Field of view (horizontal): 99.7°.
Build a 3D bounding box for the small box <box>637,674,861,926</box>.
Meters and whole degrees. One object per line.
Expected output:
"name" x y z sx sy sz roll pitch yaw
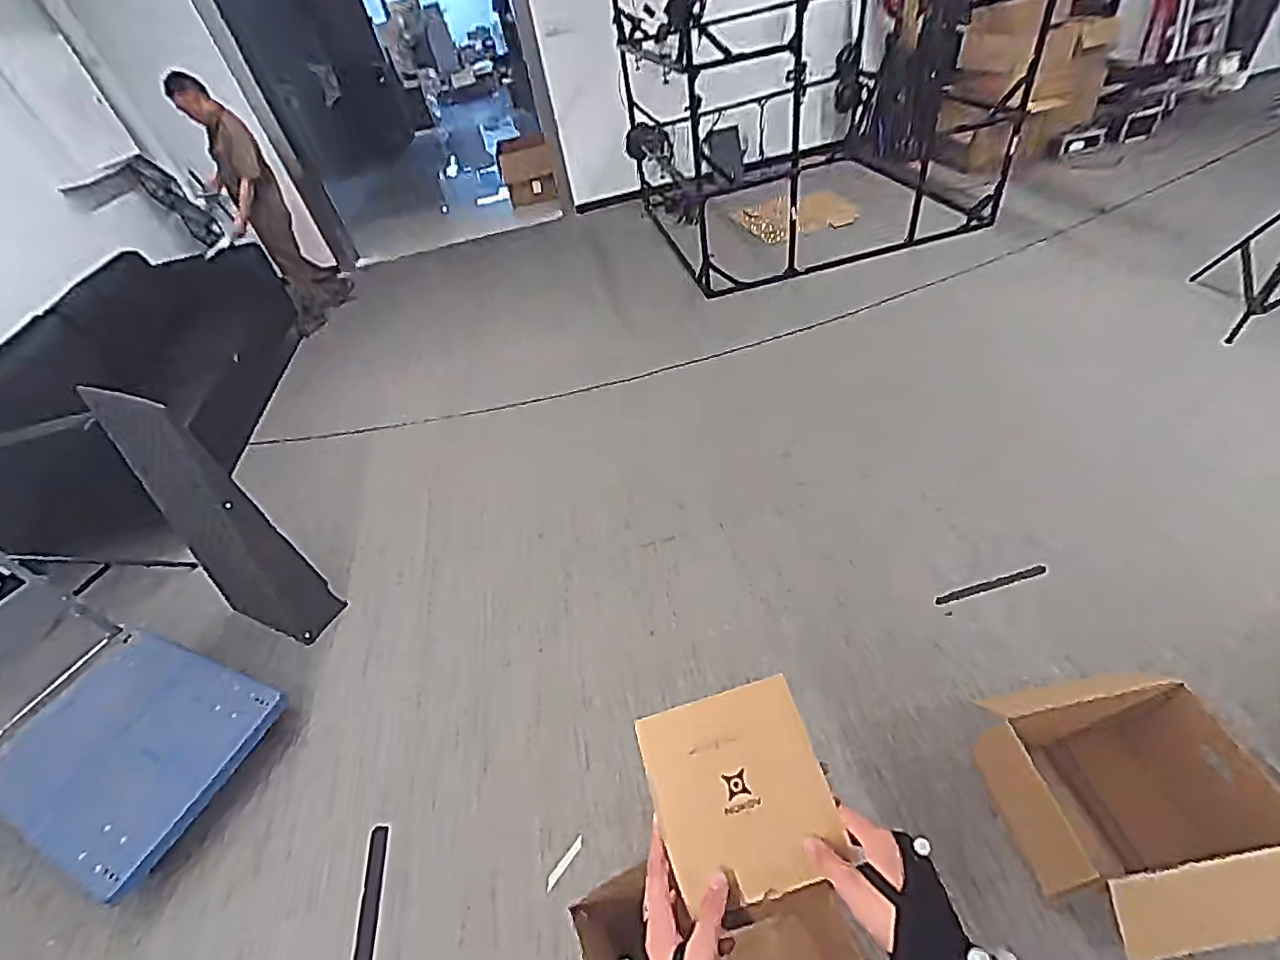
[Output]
"small box" 0.107 0.331 0.577 0.168 0.176 0.179 -17 57 -2
